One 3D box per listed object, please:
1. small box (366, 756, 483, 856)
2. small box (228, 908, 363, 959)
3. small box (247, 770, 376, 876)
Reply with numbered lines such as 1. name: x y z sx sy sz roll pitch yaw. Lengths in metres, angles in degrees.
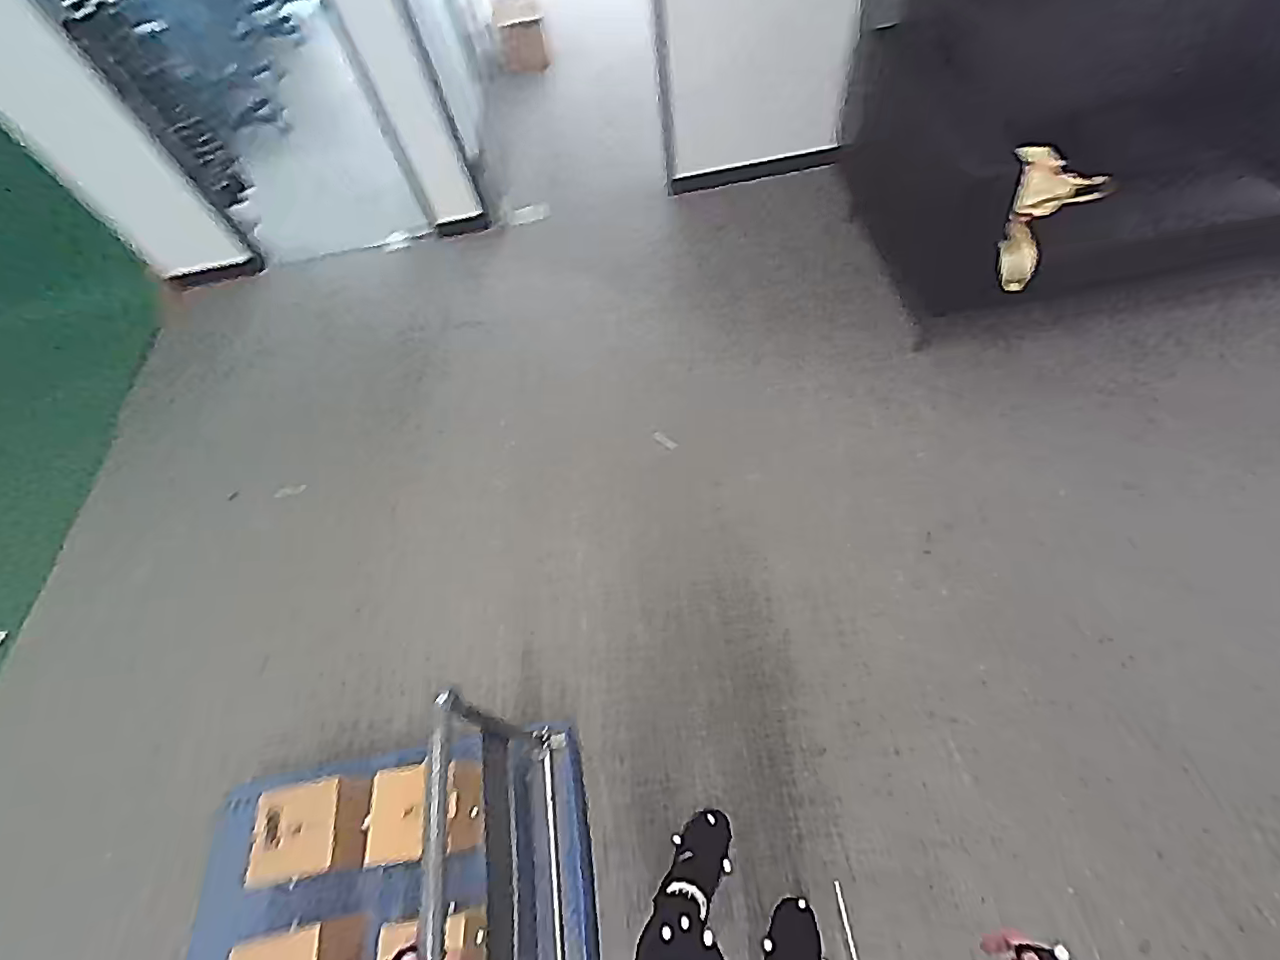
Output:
1. small box: -0.463 0.715 1.185 0.179 0.176 0.168 -9 58 2
2. small box: -0.670 0.966 1.056 0.179 0.176 0.168 -14 57 -1
3. small box: -0.708 0.752 1.191 0.179 0.176 0.168 -11 59 -1
